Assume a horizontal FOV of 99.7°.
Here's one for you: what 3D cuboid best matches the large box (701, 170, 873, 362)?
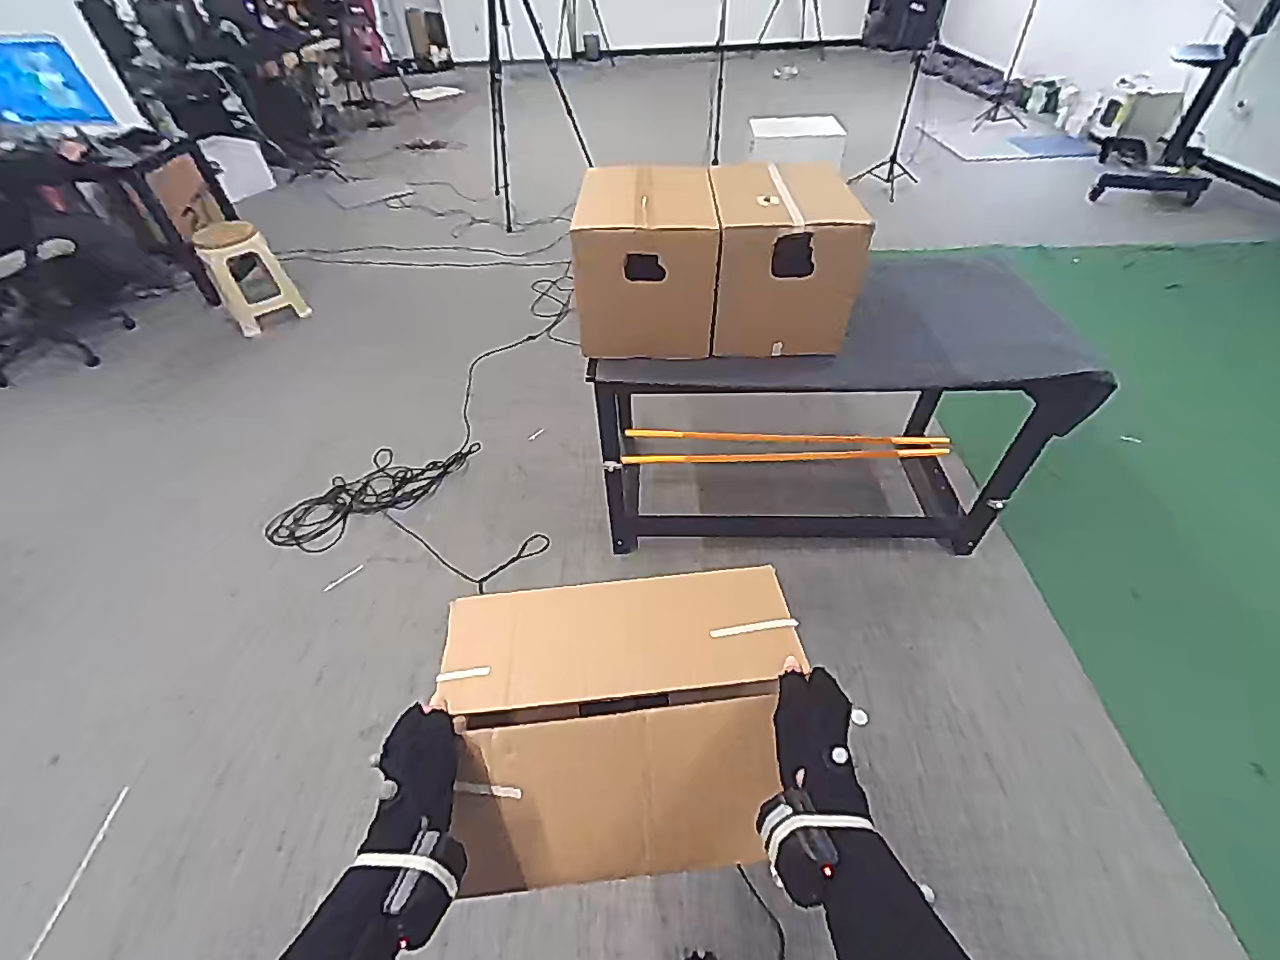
[{"bbox_3d":[0.329,-0.540,1.352,0.320,0.320,0.408,-2,47,2],"label":"large box"}]
